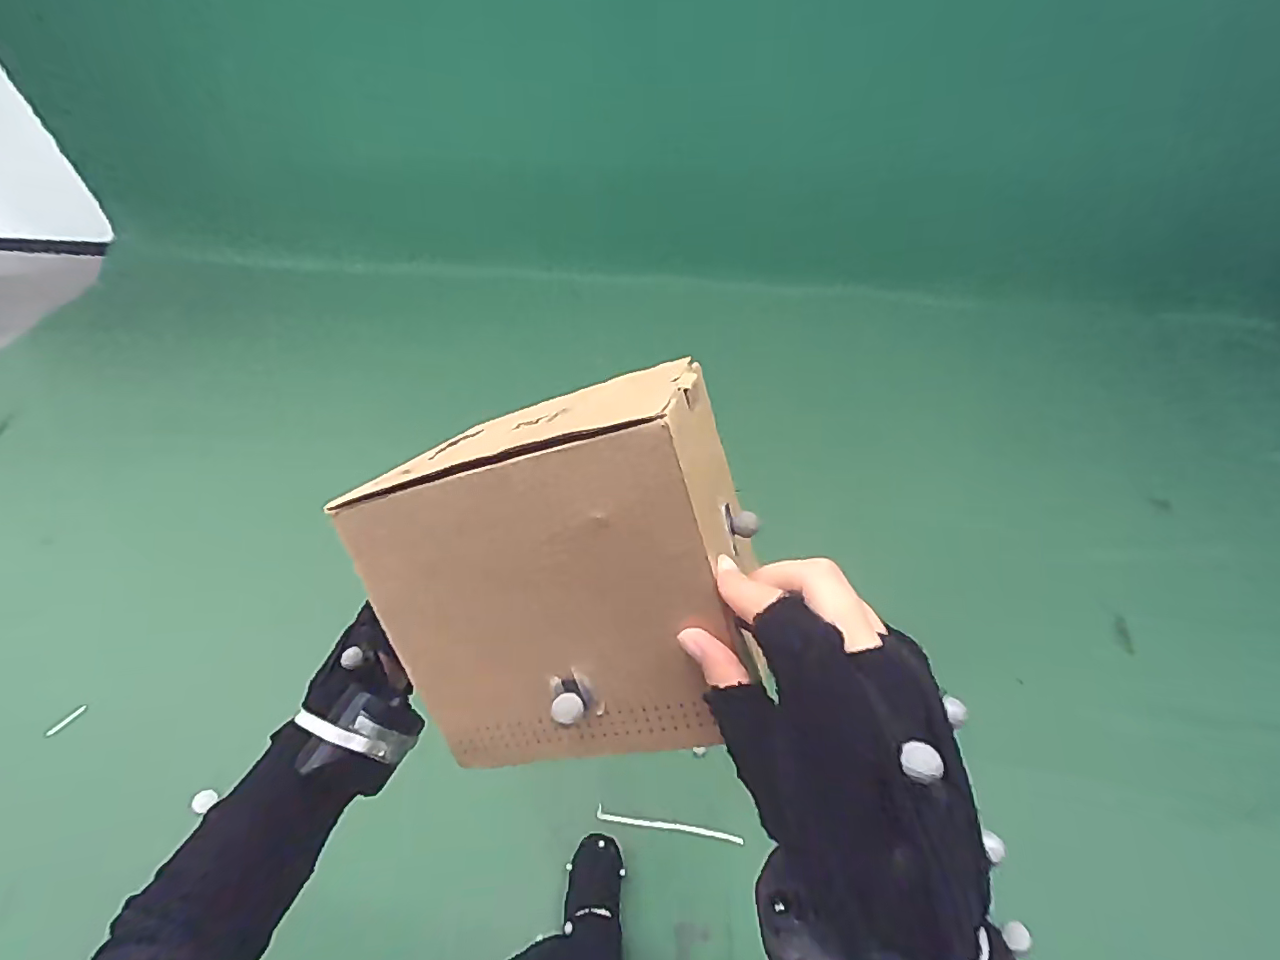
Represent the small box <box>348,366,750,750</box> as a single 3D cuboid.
[{"bbox_3d":[-0.030,0.042,0.345,0.179,0.176,0.168,-14,16,15],"label":"small box"}]
